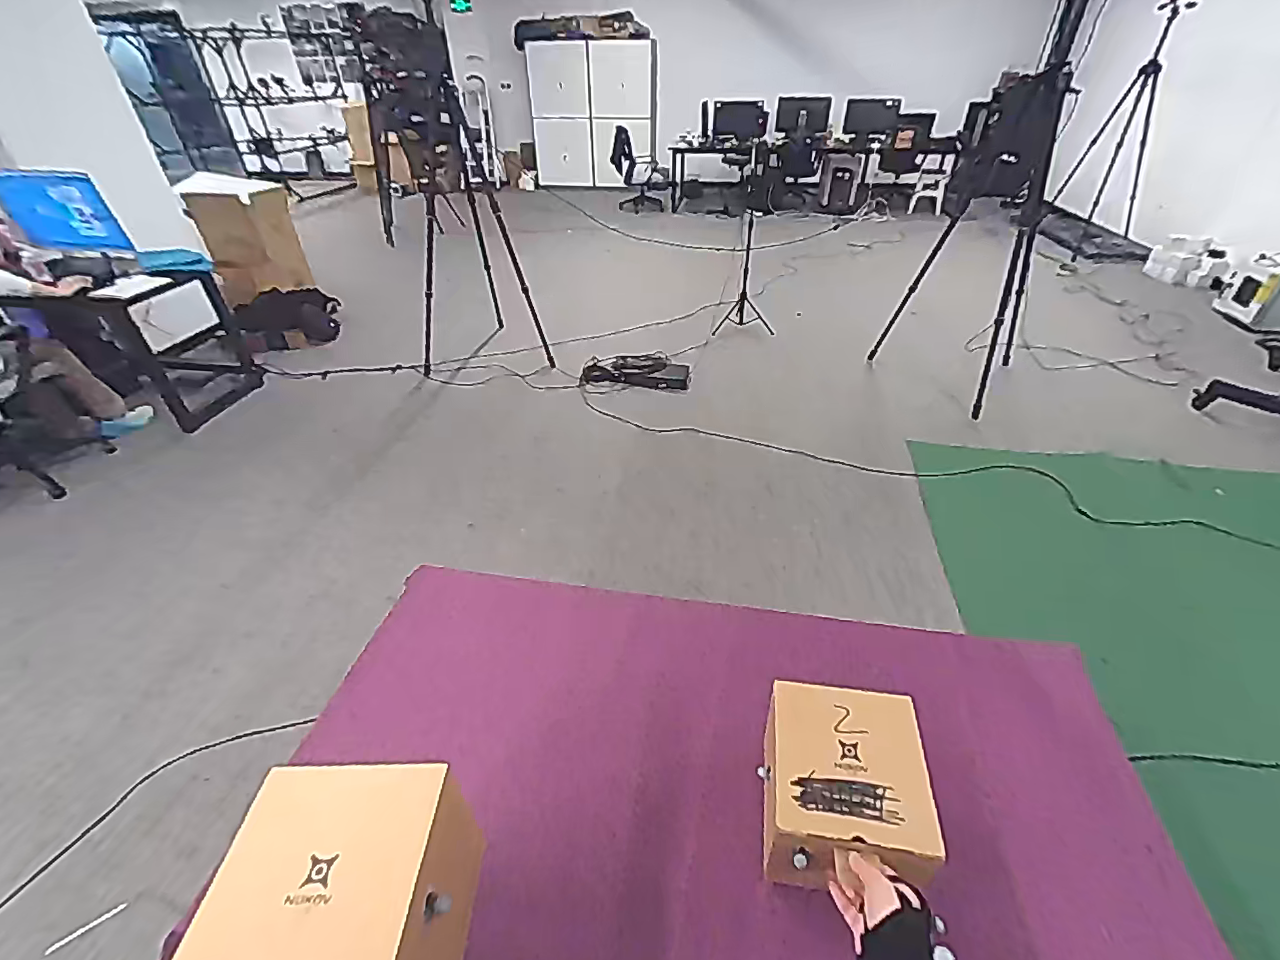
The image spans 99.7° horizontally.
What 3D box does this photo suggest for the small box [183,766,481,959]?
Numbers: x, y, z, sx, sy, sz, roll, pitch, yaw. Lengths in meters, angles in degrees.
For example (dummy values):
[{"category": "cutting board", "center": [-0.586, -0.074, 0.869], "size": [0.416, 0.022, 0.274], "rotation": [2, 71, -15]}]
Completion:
[{"category": "small box", "center": [-0.254, 0.387, 0.489], "size": [0.168, 0.176, 0.179], "rotation": [-2, 38, 1]}]
